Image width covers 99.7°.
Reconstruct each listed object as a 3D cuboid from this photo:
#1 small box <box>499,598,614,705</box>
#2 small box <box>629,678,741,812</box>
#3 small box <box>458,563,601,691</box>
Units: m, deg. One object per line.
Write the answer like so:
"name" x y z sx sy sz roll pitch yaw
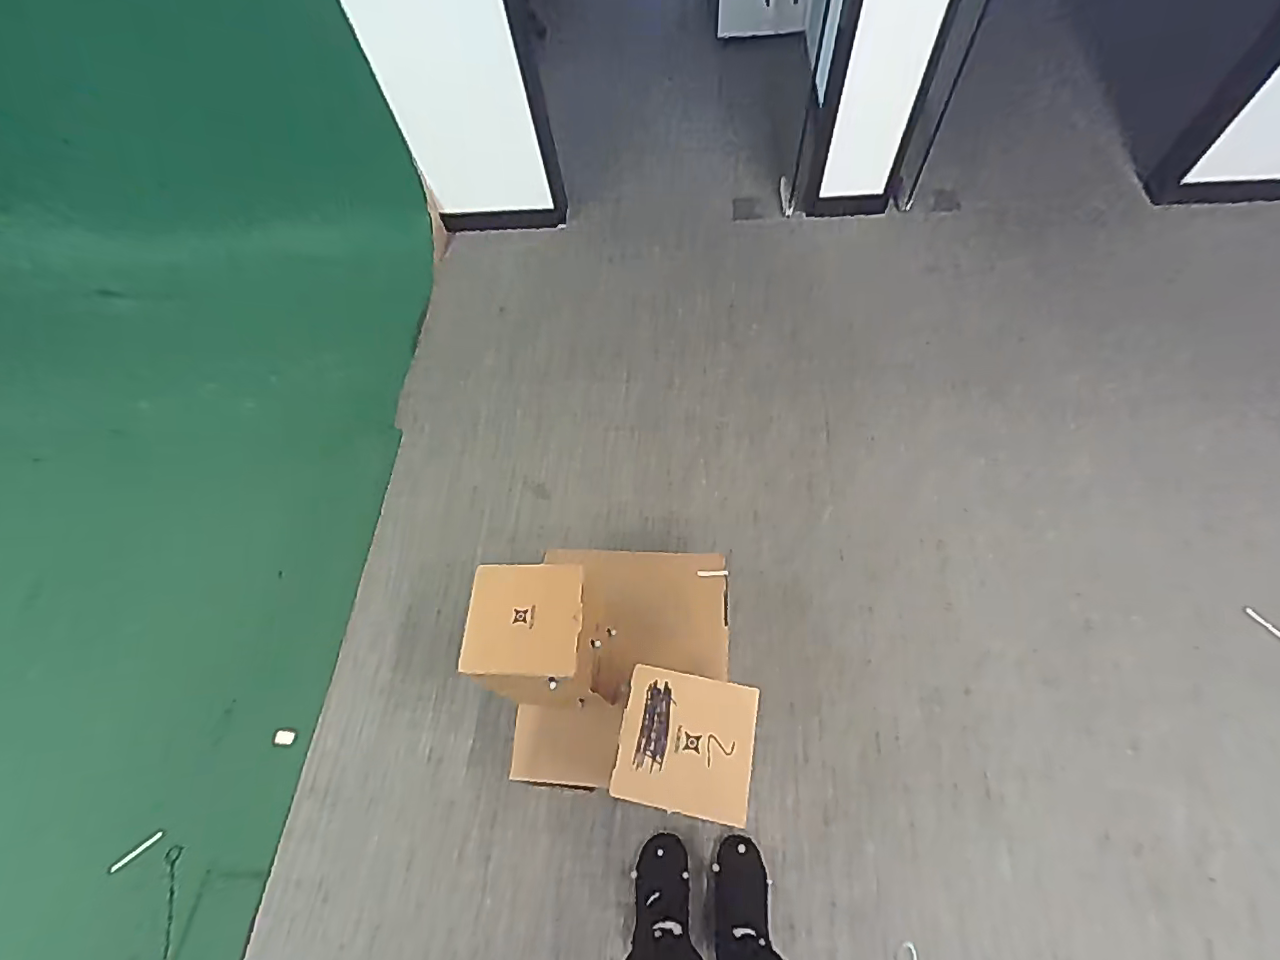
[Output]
"small box" -0.145 0.324 1.016 0.179 0.176 0.168 -2 60 5
"small box" 0.078 0.451 0.924 0.168 0.176 0.179 4 62 7
"small box" -0.166 0.243 0.877 0.179 0.176 0.168 0 61 5
